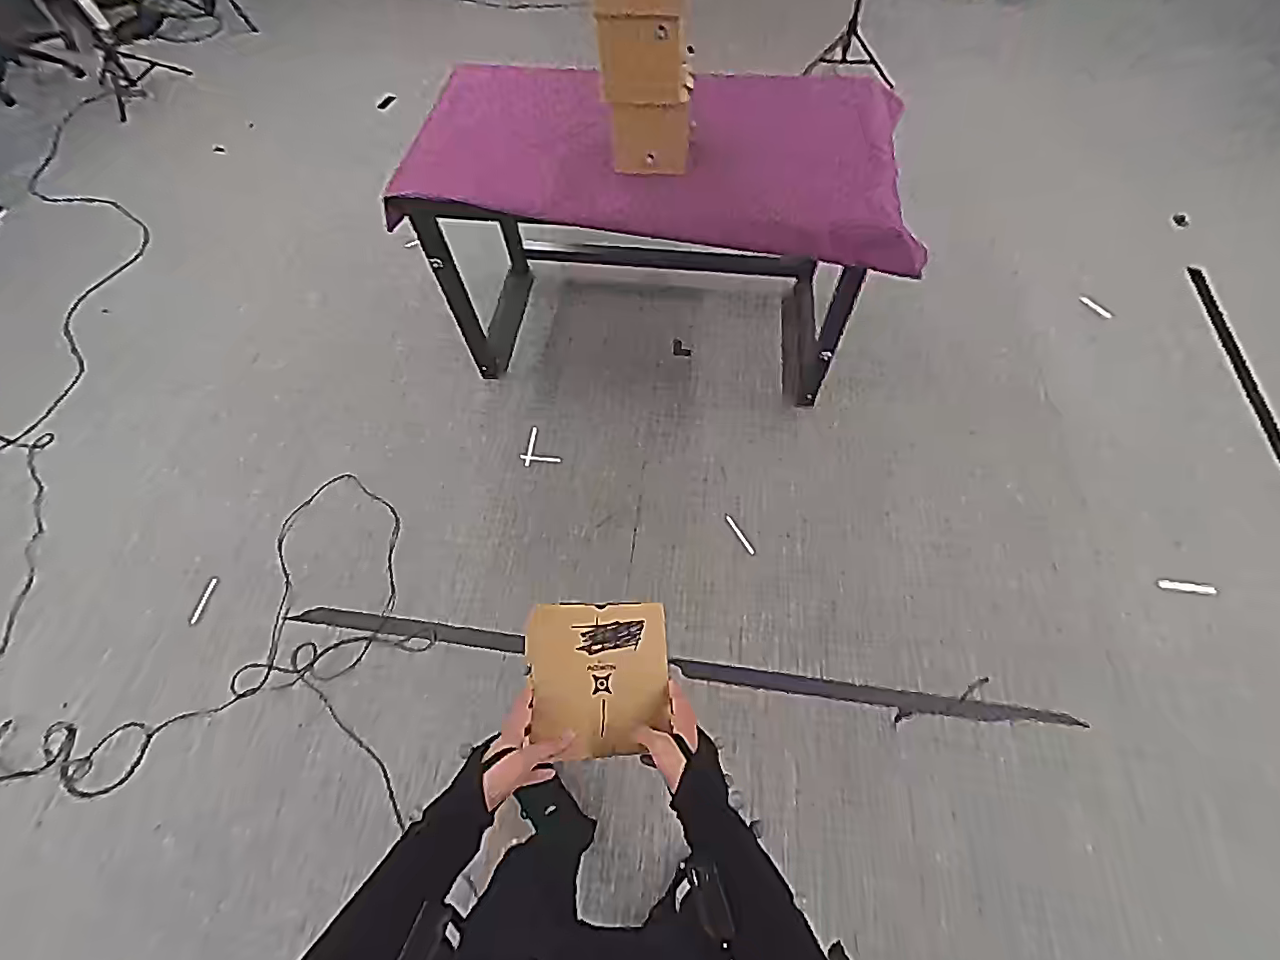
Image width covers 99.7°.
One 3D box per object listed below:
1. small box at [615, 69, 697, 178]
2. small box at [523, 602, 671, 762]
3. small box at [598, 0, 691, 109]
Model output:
[{"bbox_3d":[0.039,-0.848,1.291,0.179,0.176,0.168,4,61,3],"label":"small box"},{"bbox_3d":[-0.065,0.264,0.713,0.168,0.176,0.179,3,67,-14],"label":"small box"},{"bbox_3d":[0.014,-0.917,1.144,0.179,0.176,0.168,4,62,4],"label":"small box"}]
